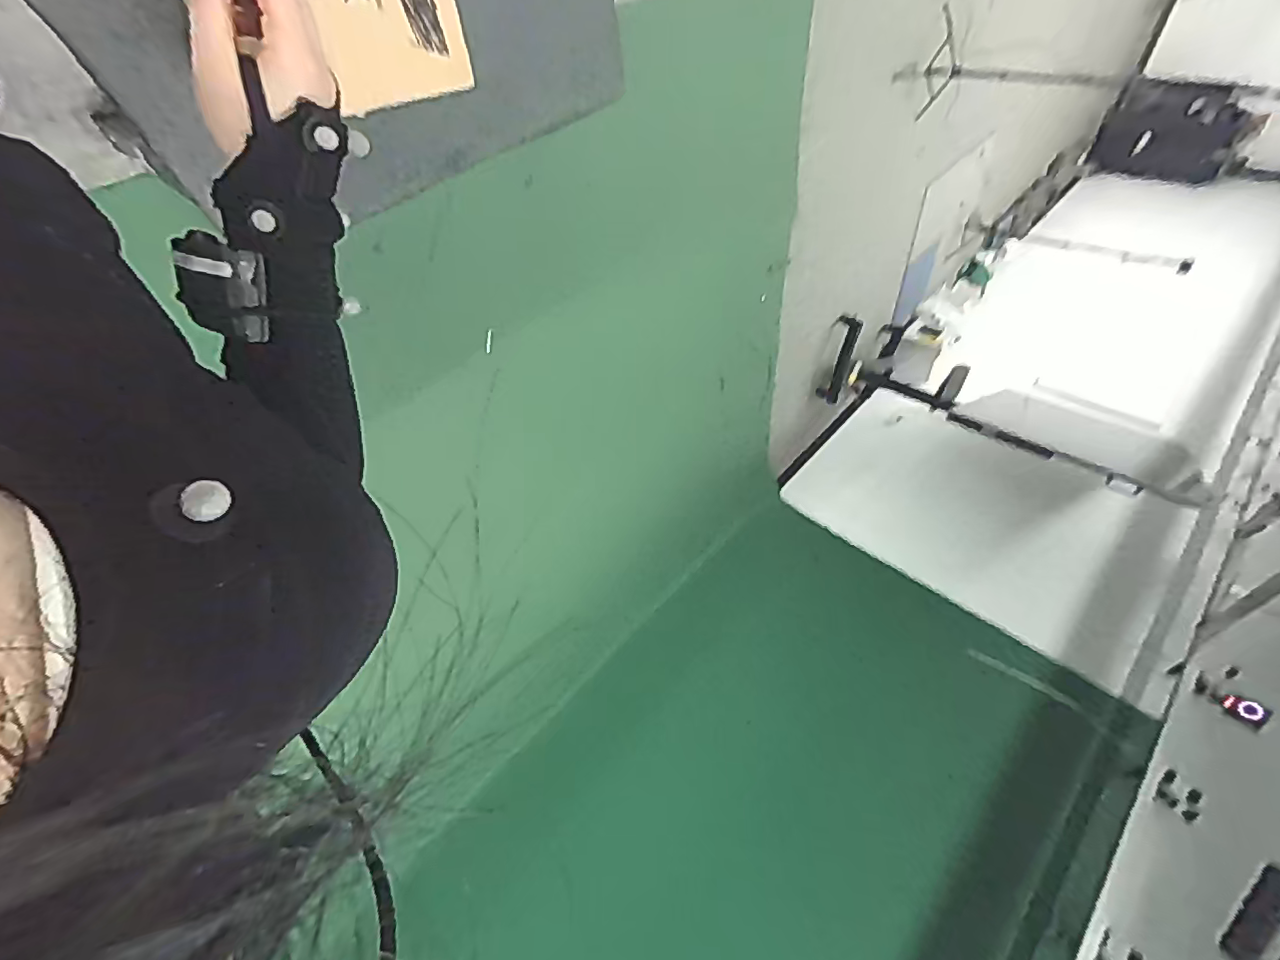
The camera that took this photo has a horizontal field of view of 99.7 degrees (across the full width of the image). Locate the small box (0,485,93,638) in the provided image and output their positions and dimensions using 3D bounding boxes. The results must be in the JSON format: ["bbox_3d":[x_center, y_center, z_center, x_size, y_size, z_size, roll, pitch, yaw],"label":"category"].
[{"bbox_3d":[-1.130,0.144,0.943,0.179,0.176,0.168,-42,146,-23],"label":"small box"}]

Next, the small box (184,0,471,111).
[{"bbox_3d":[-0.285,-0.443,0.471,0.179,0.176,0.168,-39,144,-30],"label":"small box"}]
